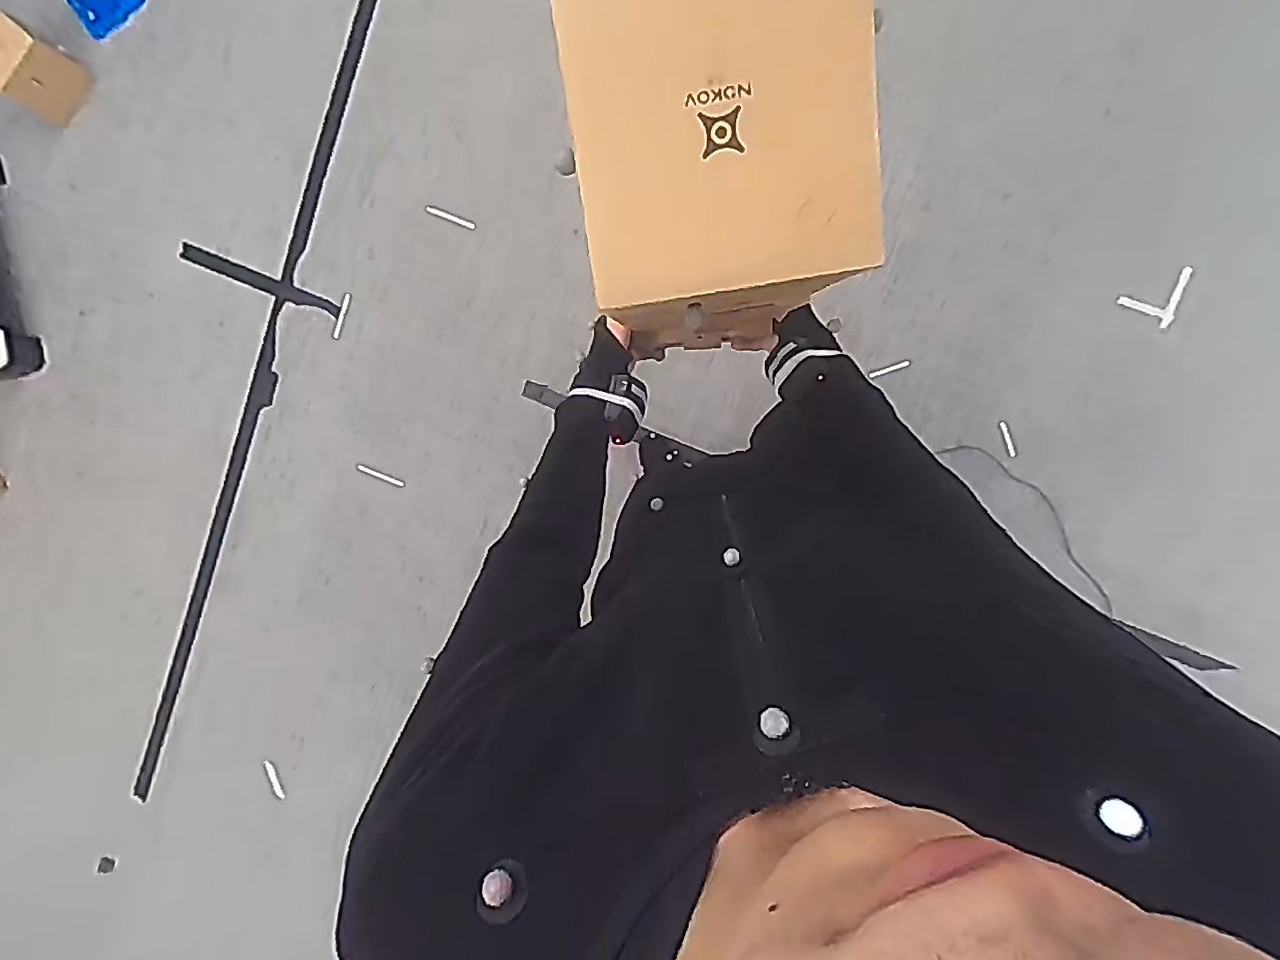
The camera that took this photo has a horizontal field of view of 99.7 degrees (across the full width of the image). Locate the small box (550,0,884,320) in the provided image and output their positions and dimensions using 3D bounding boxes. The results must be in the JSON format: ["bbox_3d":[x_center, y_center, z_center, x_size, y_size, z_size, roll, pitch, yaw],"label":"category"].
[{"bbox_3d":[0.049,-0.209,0.367,0.168,0.176,0.179,-8,101,5],"label":"small box"}]
